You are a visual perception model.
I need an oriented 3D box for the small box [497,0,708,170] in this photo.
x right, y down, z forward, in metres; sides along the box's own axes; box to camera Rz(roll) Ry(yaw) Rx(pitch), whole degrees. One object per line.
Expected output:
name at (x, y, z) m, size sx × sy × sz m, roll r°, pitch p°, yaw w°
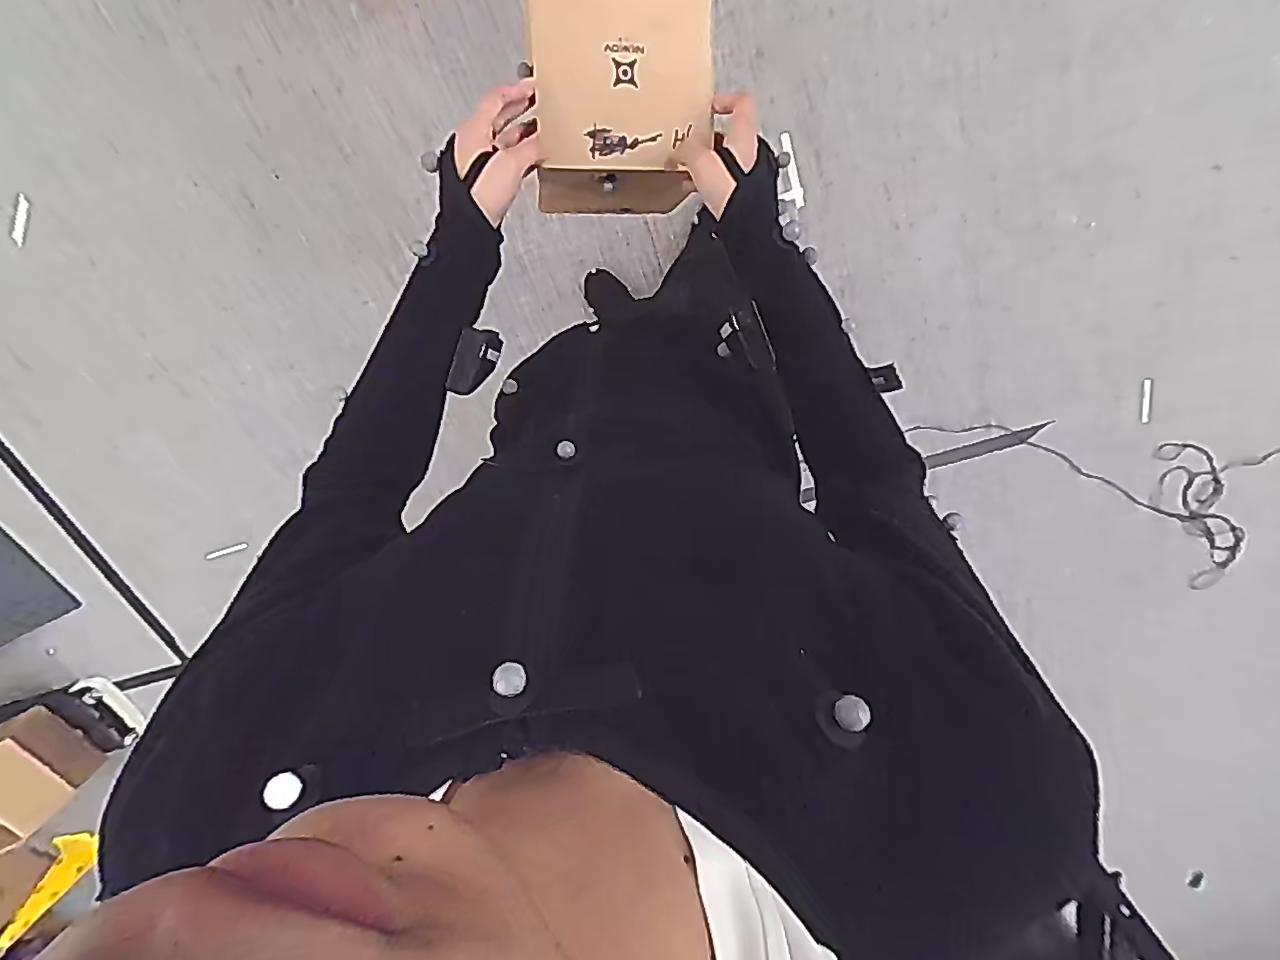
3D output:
small box at (-0.043, -0.405, 0.487) m, size 0.168 × 0.176 × 0.179 m, roll -5°, pitch 105°, yaw -10°
